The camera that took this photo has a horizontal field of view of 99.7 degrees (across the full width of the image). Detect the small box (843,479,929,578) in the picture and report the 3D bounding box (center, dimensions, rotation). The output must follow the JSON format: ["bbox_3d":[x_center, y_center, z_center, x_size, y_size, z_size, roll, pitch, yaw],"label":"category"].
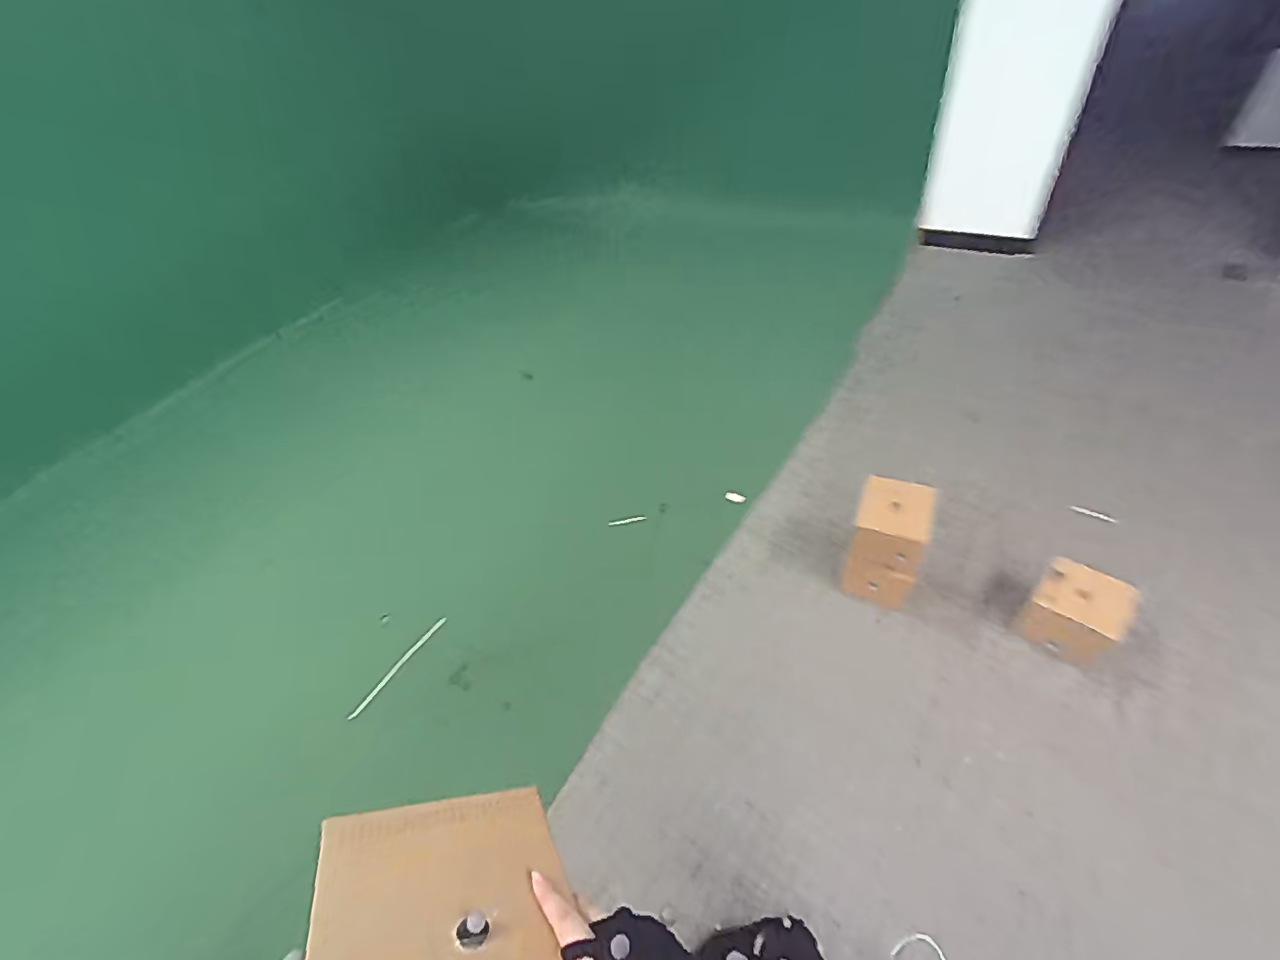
[{"bbox_3d":[0.633,0.128,1.402,0.168,0.176,0.179,14,53,23],"label":"small box"}]

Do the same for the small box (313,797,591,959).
[{"bbox_3d":[-0.155,0.377,0.417,0.179,0.168,0.176,8,9,-24],"label":"small box"}]

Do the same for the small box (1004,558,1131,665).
[{"bbox_3d":[1.051,0.333,1.342,0.179,0.176,0.168,30,61,33],"label":"small box"}]
